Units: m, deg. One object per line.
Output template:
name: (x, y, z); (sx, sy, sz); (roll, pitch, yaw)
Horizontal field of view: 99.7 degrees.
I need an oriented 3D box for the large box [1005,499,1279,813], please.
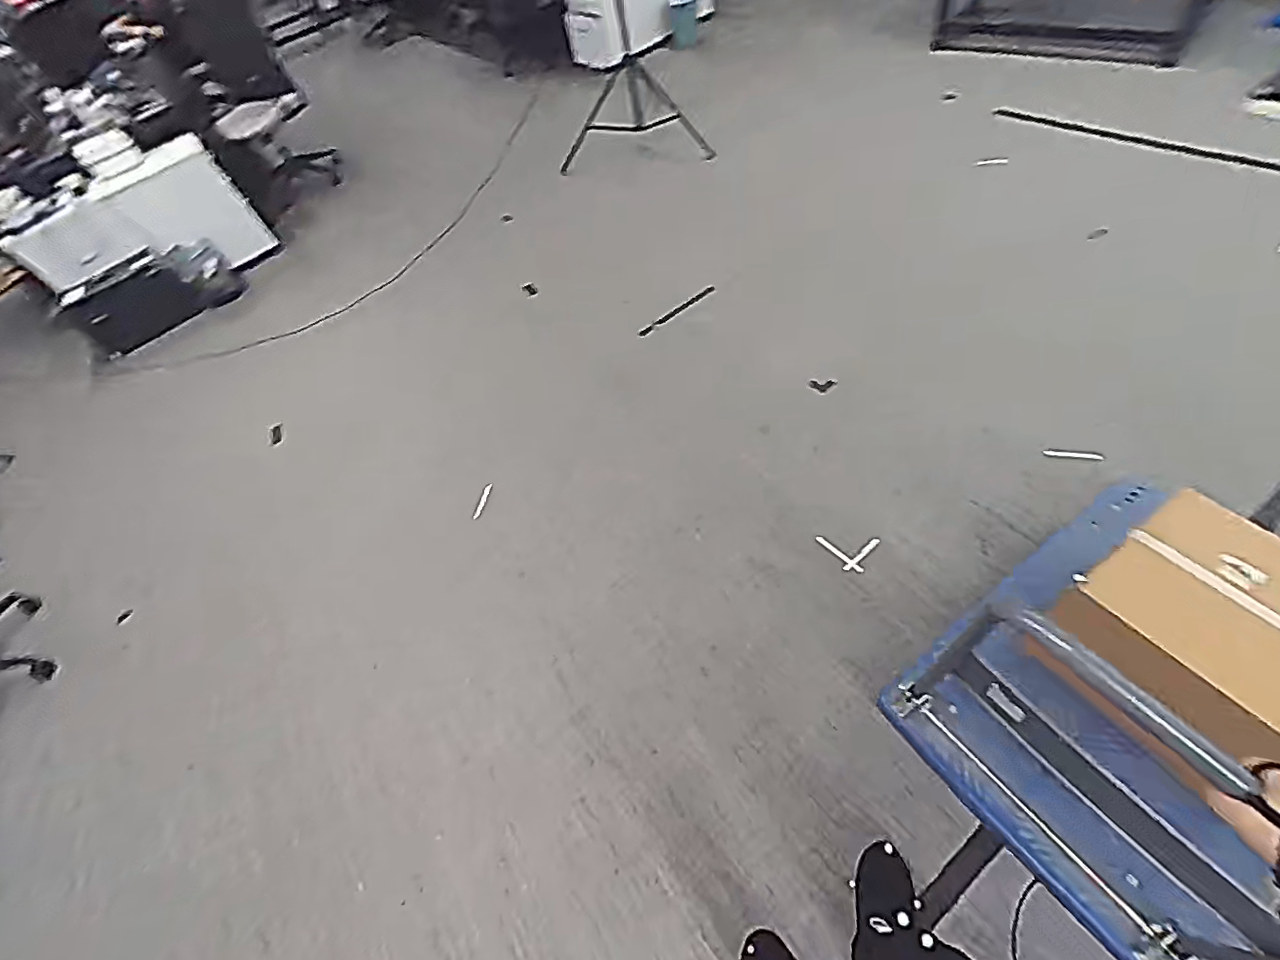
large box: (1.007, 0.320, 1.001); (0.320, 0.320, 0.408); (-34, 54, -12)
